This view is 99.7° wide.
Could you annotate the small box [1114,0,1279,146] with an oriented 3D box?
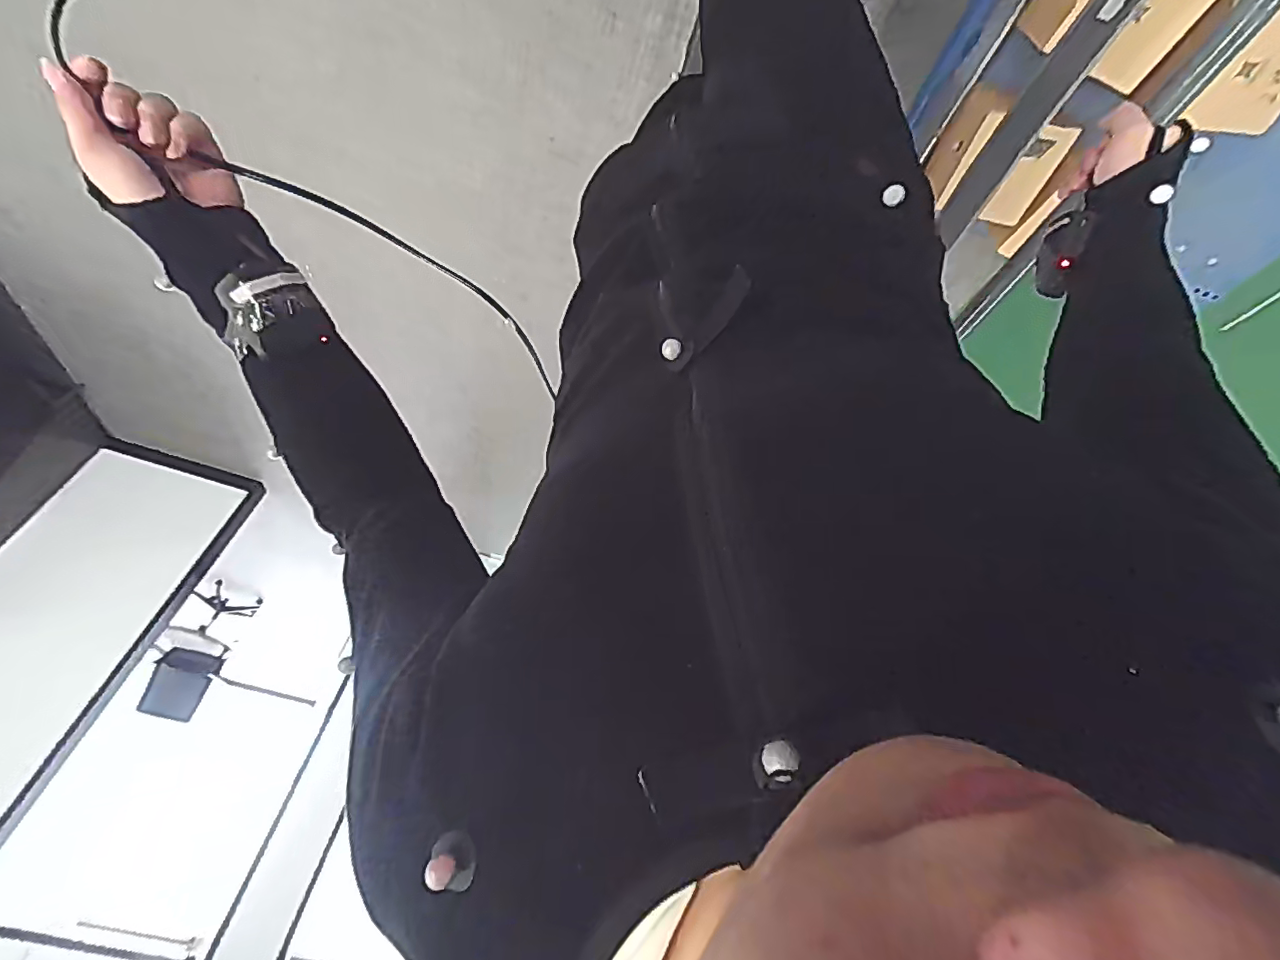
[{"bbox_3d":[0.950,-0.684,0.895,0.179,0.176,0.168,10,143,5],"label":"small box"}]
